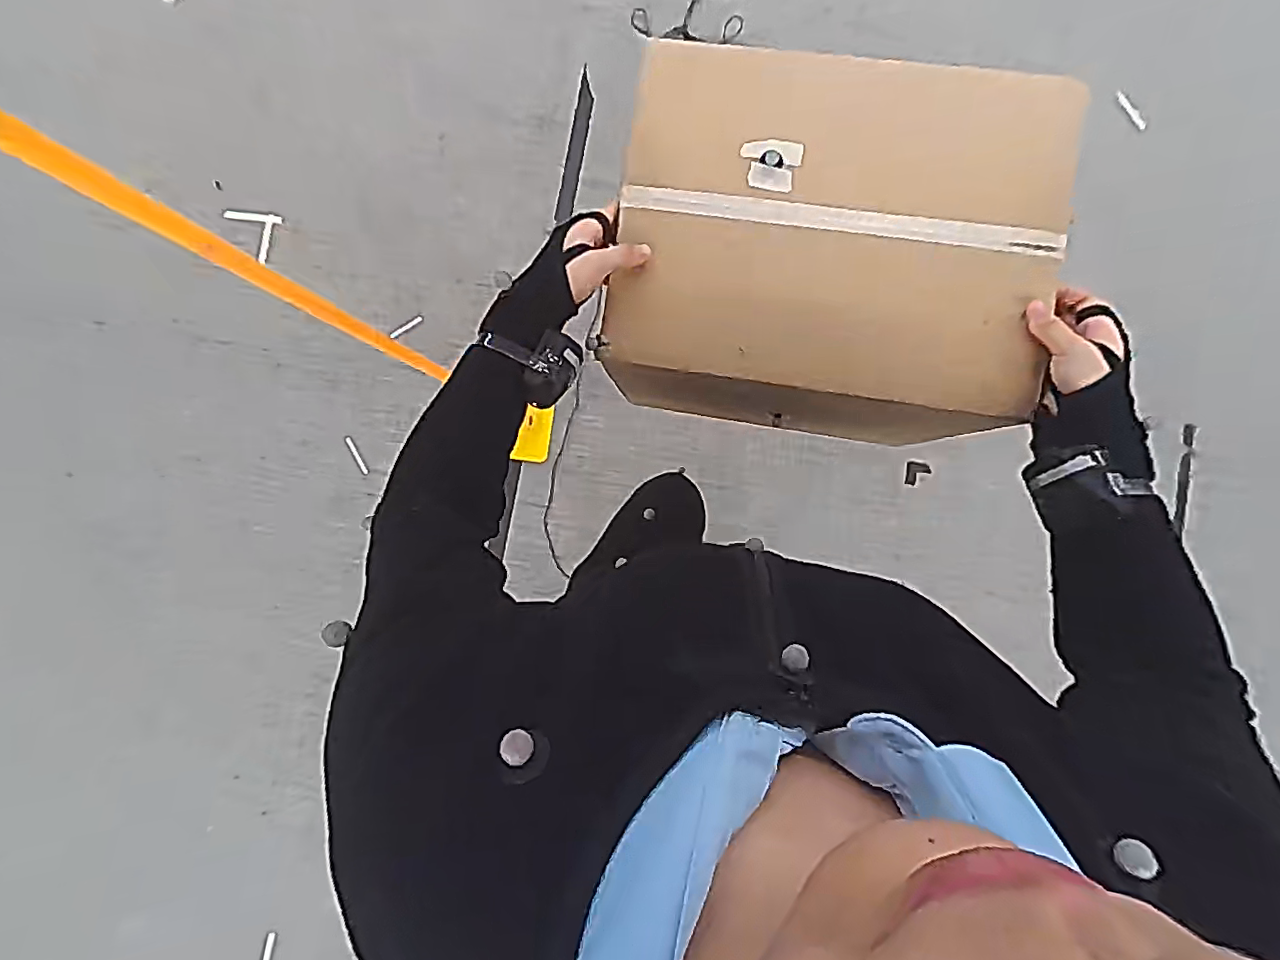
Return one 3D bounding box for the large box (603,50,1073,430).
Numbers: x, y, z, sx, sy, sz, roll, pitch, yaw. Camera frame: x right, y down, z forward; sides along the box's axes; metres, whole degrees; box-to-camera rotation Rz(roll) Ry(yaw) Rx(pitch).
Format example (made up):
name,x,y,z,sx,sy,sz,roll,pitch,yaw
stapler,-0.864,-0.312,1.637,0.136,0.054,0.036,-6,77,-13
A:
name,x,y,z,sx,sy,sz,roll,pitch,yaw
large box,0.197,-0.247,0.661,0.408,0.320,0.320,9,89,6
